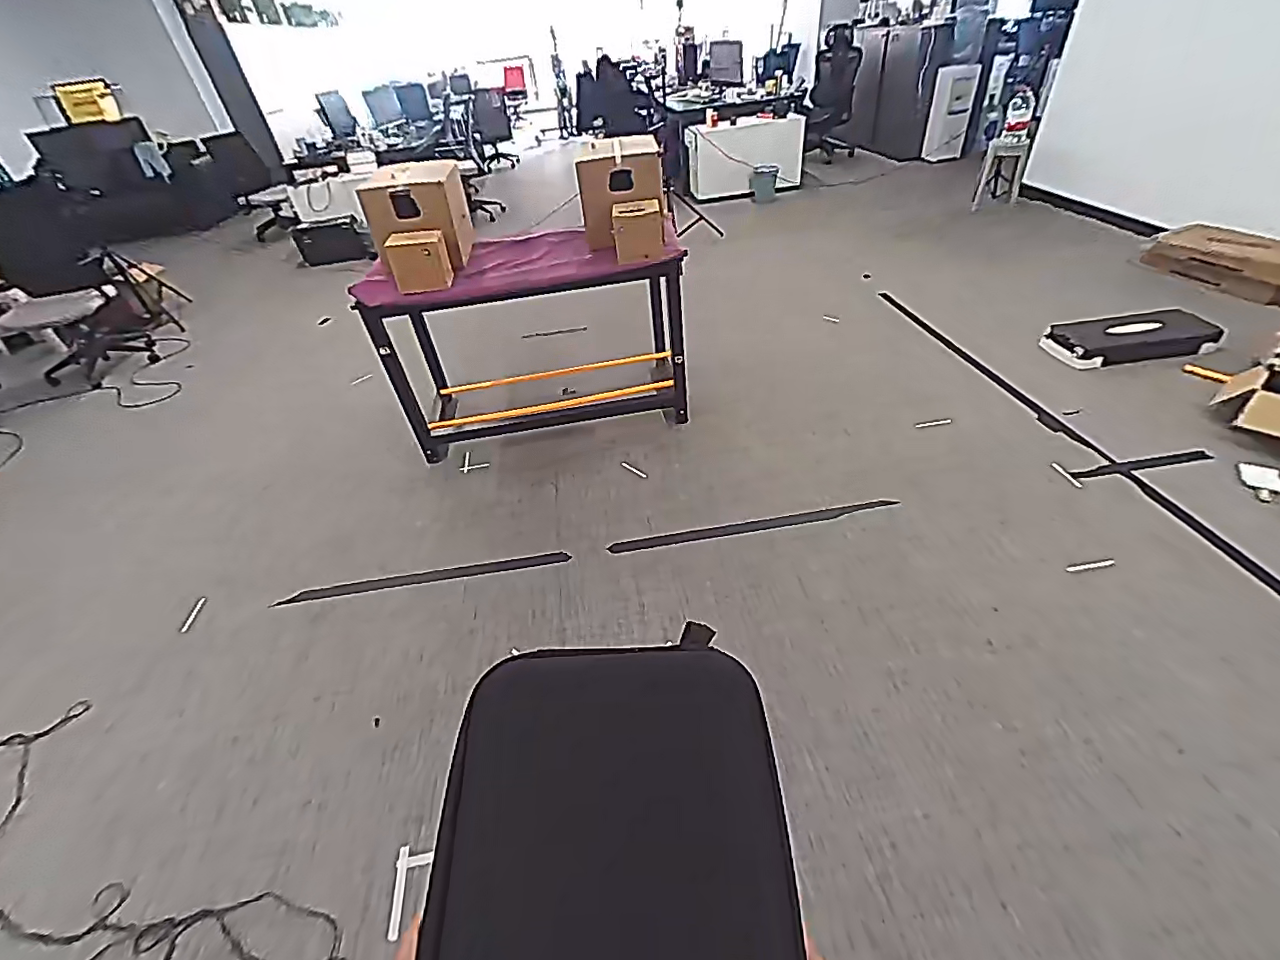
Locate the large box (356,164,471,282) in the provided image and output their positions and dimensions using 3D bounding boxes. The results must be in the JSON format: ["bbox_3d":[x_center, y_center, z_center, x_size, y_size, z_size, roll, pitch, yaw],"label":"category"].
[{"bbox_3d":[-0.878,-1.035,2.162,0.320,0.320,0.408,-9,42,-4],"label":"large box"}]
